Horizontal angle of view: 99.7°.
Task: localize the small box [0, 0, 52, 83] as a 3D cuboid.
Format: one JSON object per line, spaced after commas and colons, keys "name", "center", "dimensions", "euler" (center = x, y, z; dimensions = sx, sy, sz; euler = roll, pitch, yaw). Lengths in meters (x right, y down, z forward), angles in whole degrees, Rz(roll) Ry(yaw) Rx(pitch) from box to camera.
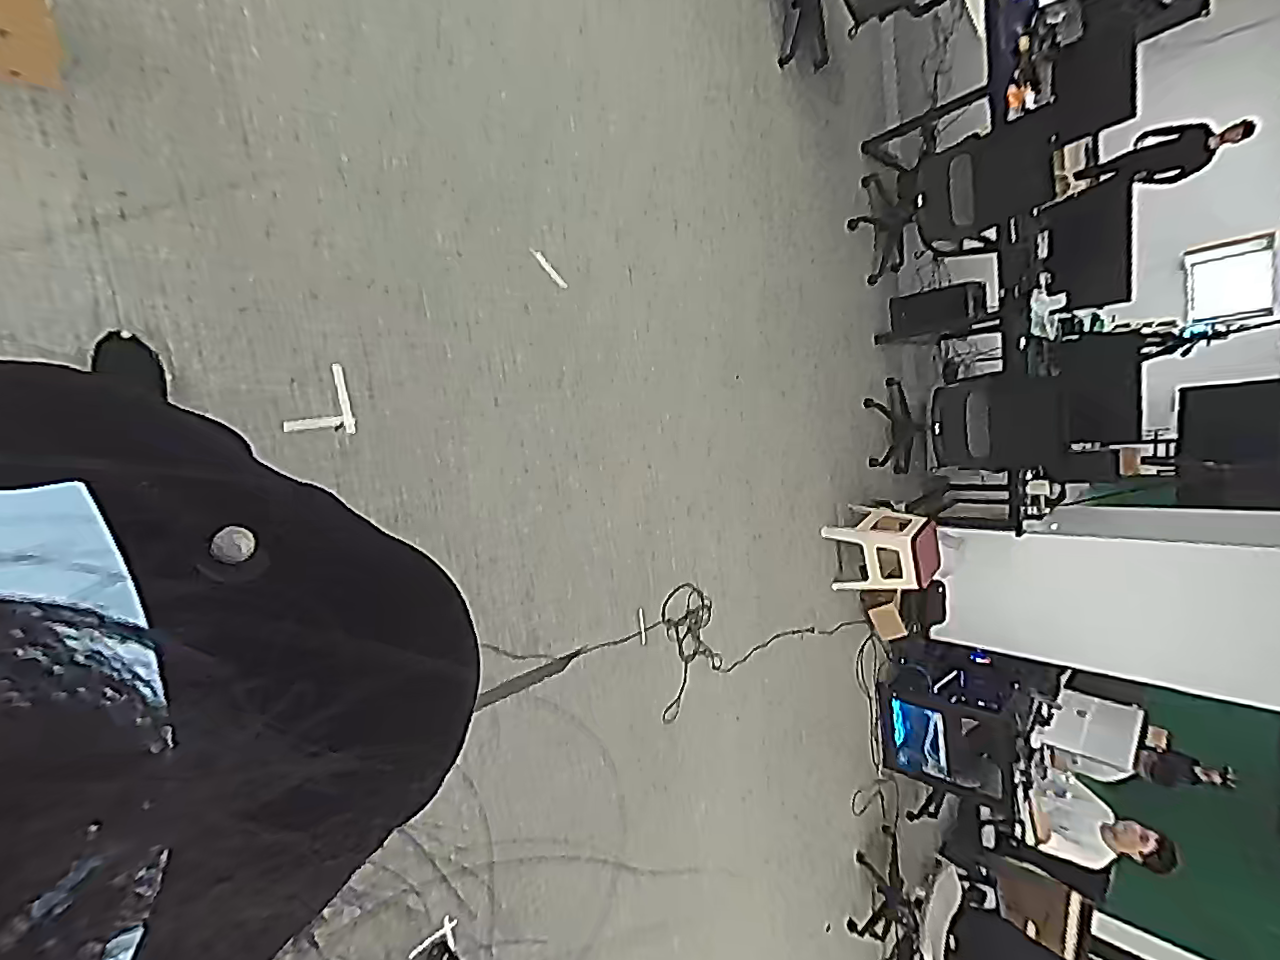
{"name": "small box", "center": [-1.135, -0.819, 0.904], "dimensions": [0.168, 0.176, 0.179], "euler": [-20, 104, -41]}
